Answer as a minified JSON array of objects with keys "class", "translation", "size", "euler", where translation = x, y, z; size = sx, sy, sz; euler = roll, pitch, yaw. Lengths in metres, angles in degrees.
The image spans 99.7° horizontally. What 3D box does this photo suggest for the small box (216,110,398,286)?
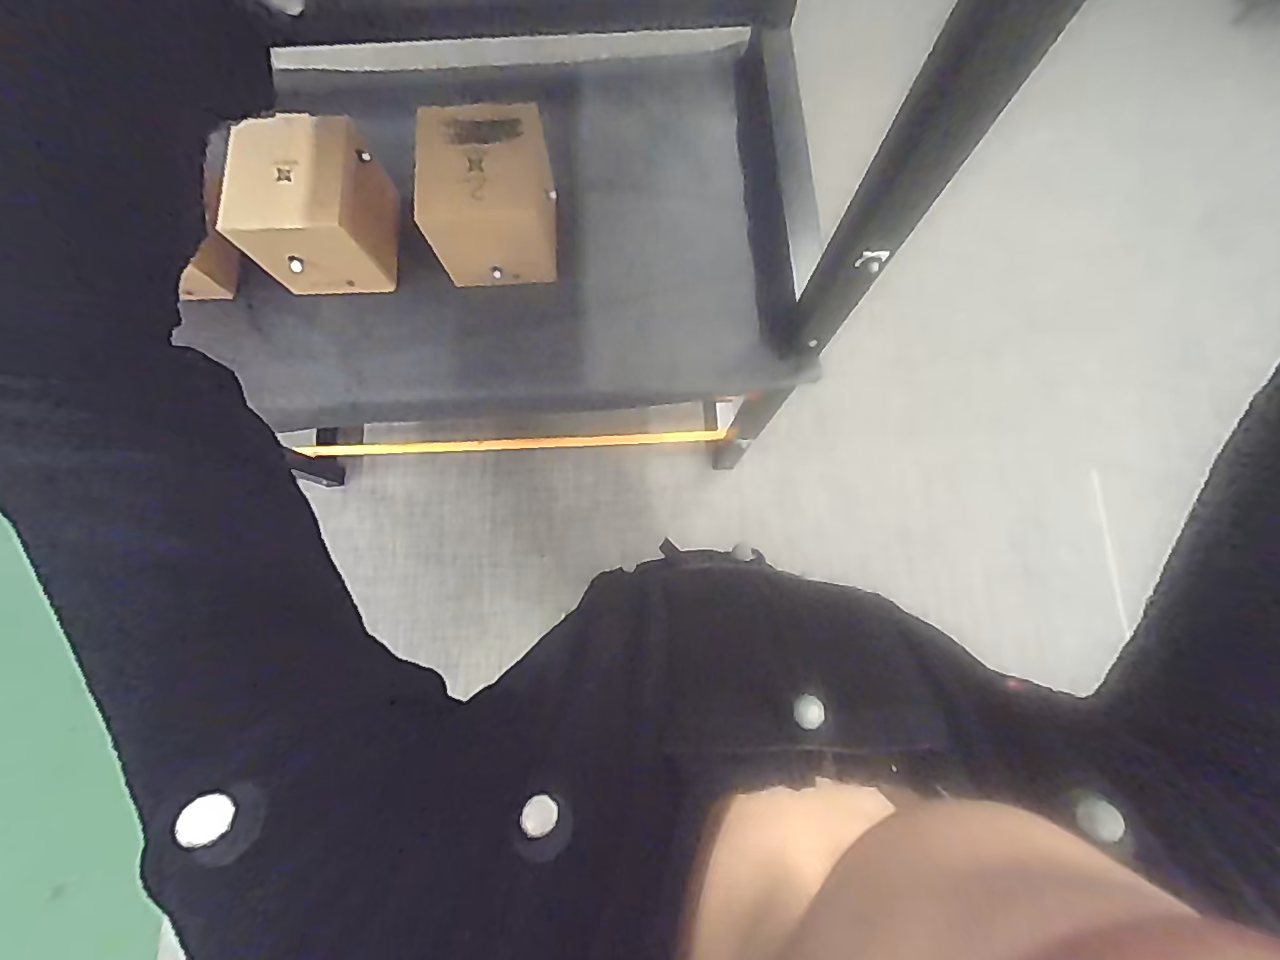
[{"class":"small box","translation":[-0.479,-0.406,0.806],"size":[0.168,0.176,0.179],"euler":[-2,79,0]}]
